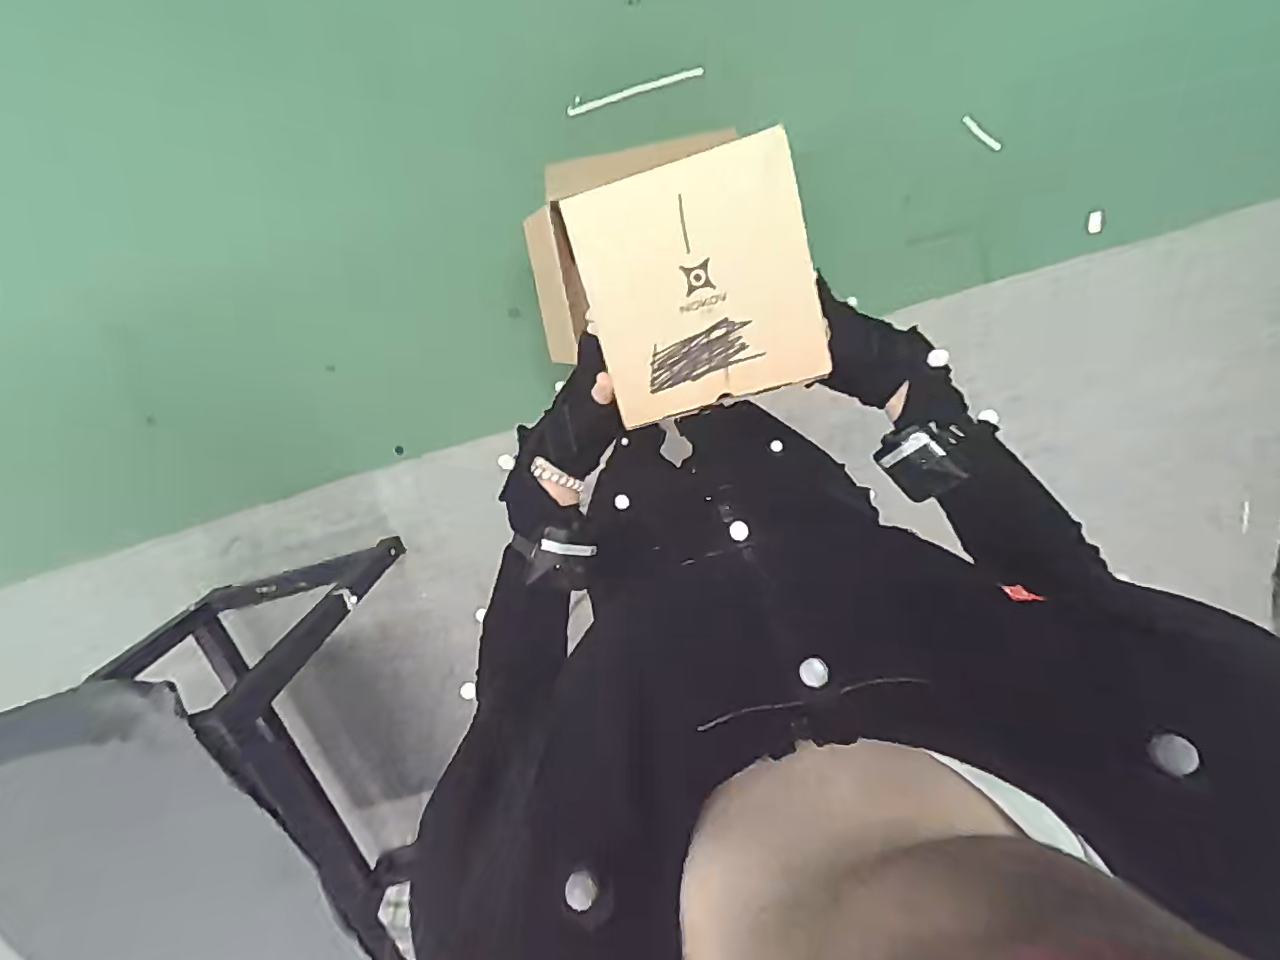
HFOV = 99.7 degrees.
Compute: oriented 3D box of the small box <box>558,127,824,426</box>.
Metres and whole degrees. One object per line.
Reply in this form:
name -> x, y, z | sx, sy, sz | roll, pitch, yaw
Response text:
small box -> 0.046, -0.163, 0.470 | 0.168, 0.176, 0.179 | -13, 105, 8
